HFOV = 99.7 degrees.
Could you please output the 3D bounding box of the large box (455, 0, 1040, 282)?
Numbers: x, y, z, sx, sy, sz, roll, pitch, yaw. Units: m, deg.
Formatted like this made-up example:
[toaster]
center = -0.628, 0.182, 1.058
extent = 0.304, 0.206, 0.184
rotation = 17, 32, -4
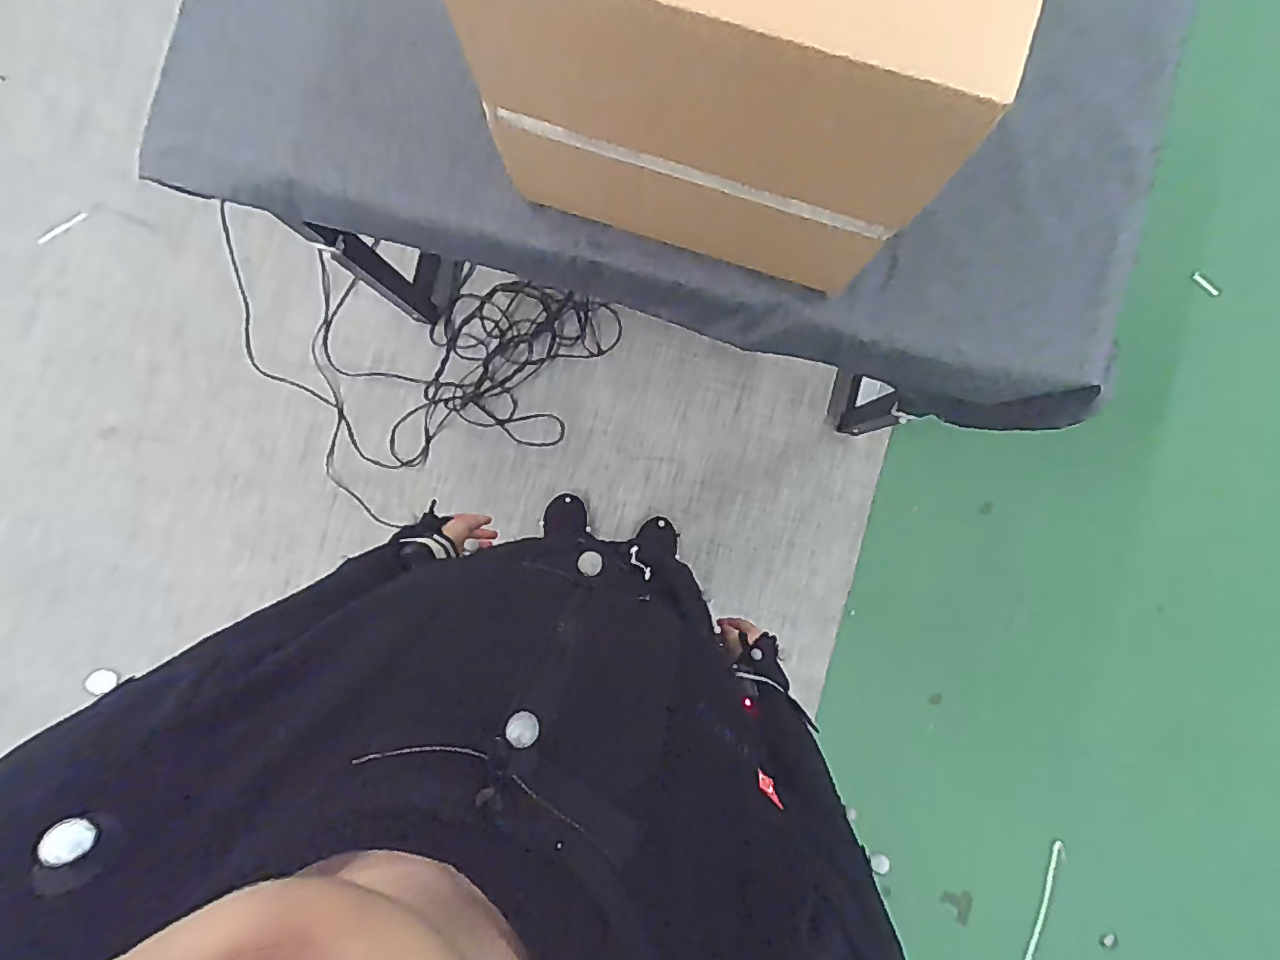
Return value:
[large box]
center = 0.094, -0.436, 0.508
extent = 0.408, 0.320, 0.320
rotation = 16, 87, 0
